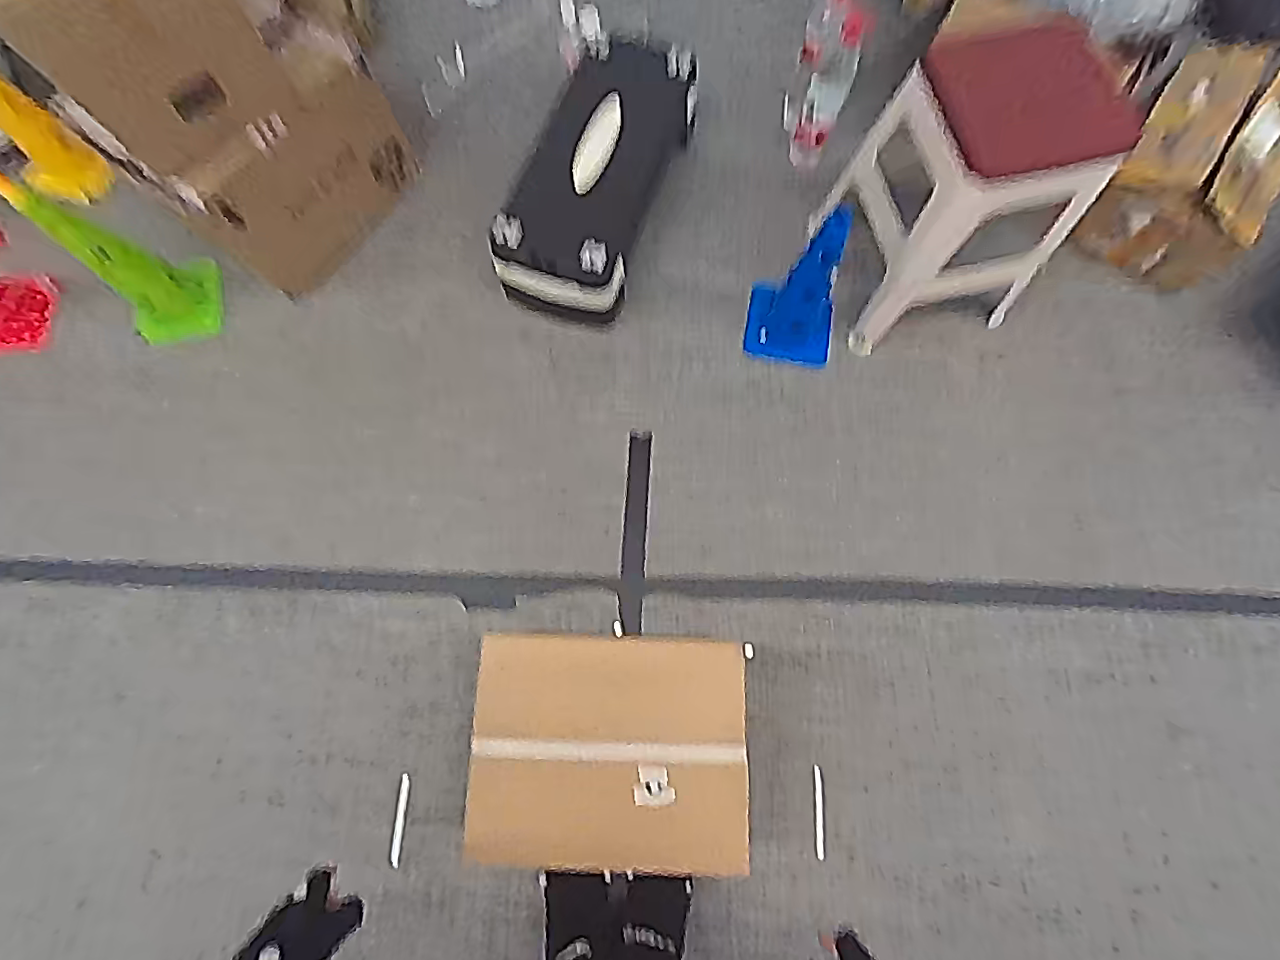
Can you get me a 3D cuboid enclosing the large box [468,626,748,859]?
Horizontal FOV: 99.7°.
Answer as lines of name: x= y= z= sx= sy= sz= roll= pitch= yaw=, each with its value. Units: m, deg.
large box: x=-0.046 y=0.420 z=0.940 sx=0.408 sy=0.320 sz=0.320 roll=2 pitch=76 yaw=0
